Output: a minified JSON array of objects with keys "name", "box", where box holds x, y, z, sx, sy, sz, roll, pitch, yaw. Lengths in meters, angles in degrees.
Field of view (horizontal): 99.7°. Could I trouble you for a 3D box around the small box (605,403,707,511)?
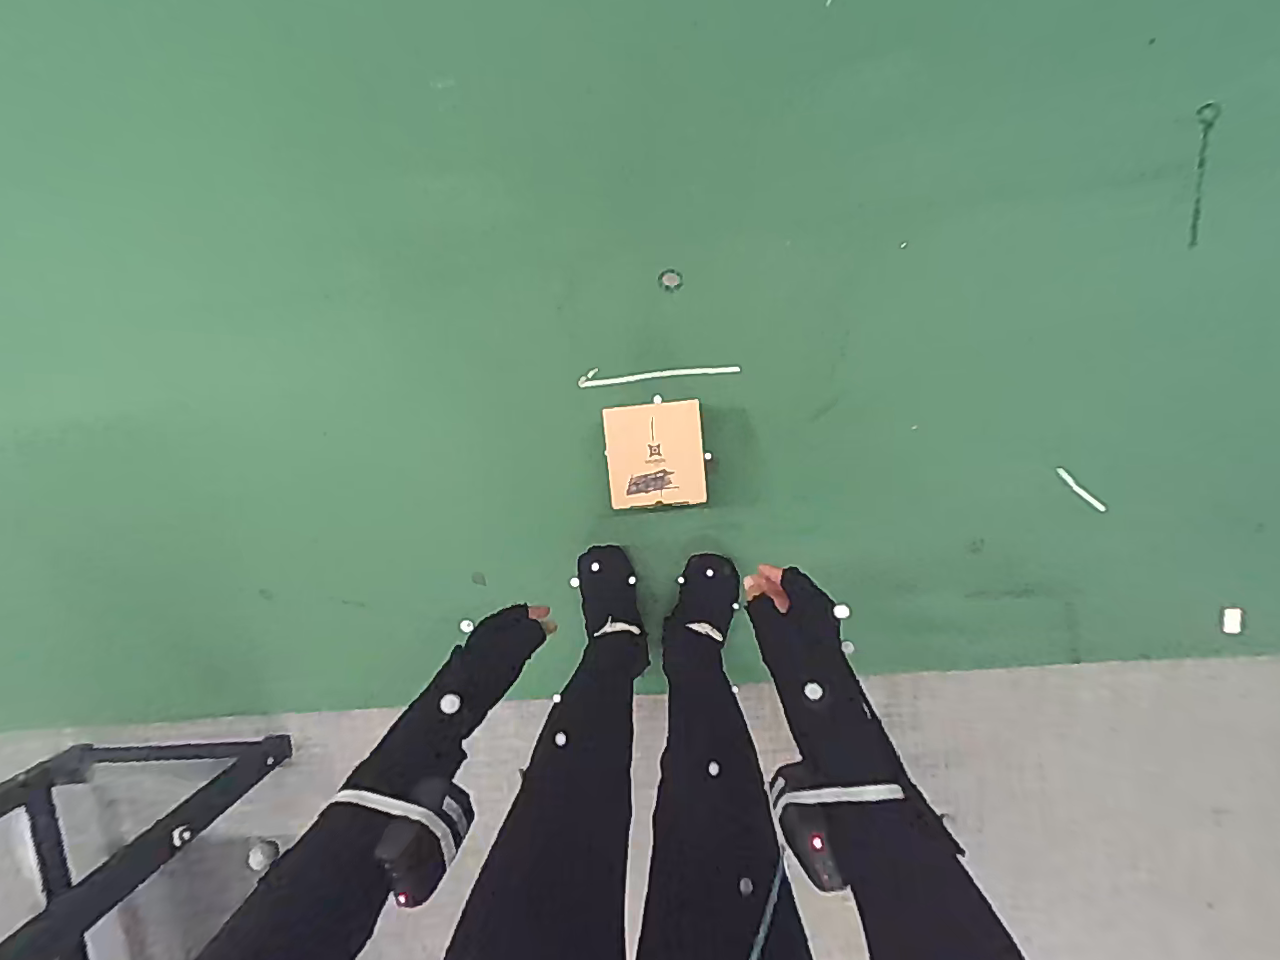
[{"name":"small box","box":[0.036,-0.046,0.998,0.168,0.176,0.179,-5,95,6]}]
